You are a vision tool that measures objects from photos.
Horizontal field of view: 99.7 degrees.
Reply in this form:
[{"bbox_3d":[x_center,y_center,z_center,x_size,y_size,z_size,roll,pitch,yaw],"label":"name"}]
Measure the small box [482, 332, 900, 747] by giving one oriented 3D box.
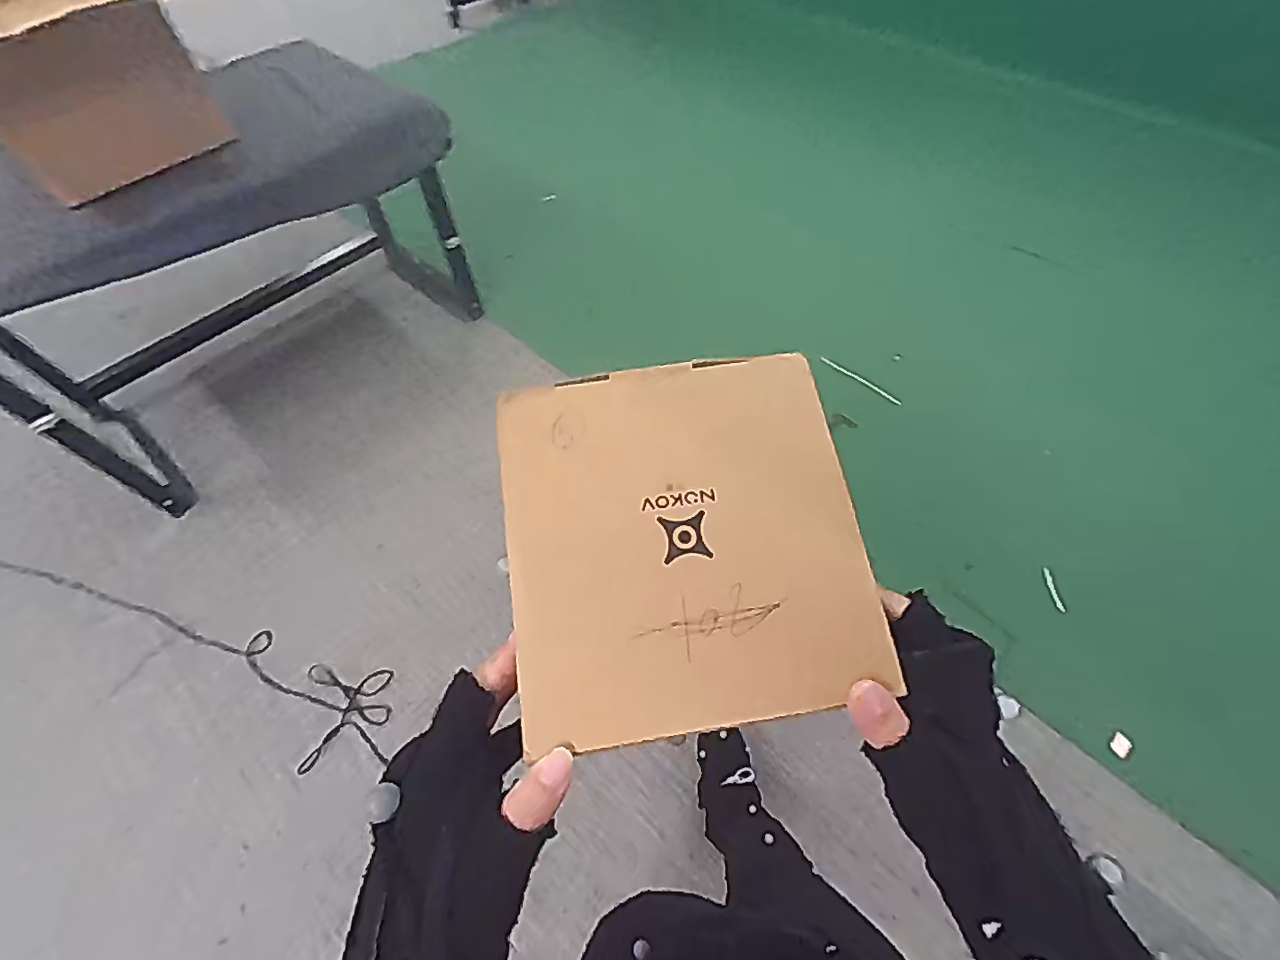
[{"bbox_3d":[0.013,0.042,0.321,0.168,0.176,0.179,-9,71,-4],"label":"small box"}]
